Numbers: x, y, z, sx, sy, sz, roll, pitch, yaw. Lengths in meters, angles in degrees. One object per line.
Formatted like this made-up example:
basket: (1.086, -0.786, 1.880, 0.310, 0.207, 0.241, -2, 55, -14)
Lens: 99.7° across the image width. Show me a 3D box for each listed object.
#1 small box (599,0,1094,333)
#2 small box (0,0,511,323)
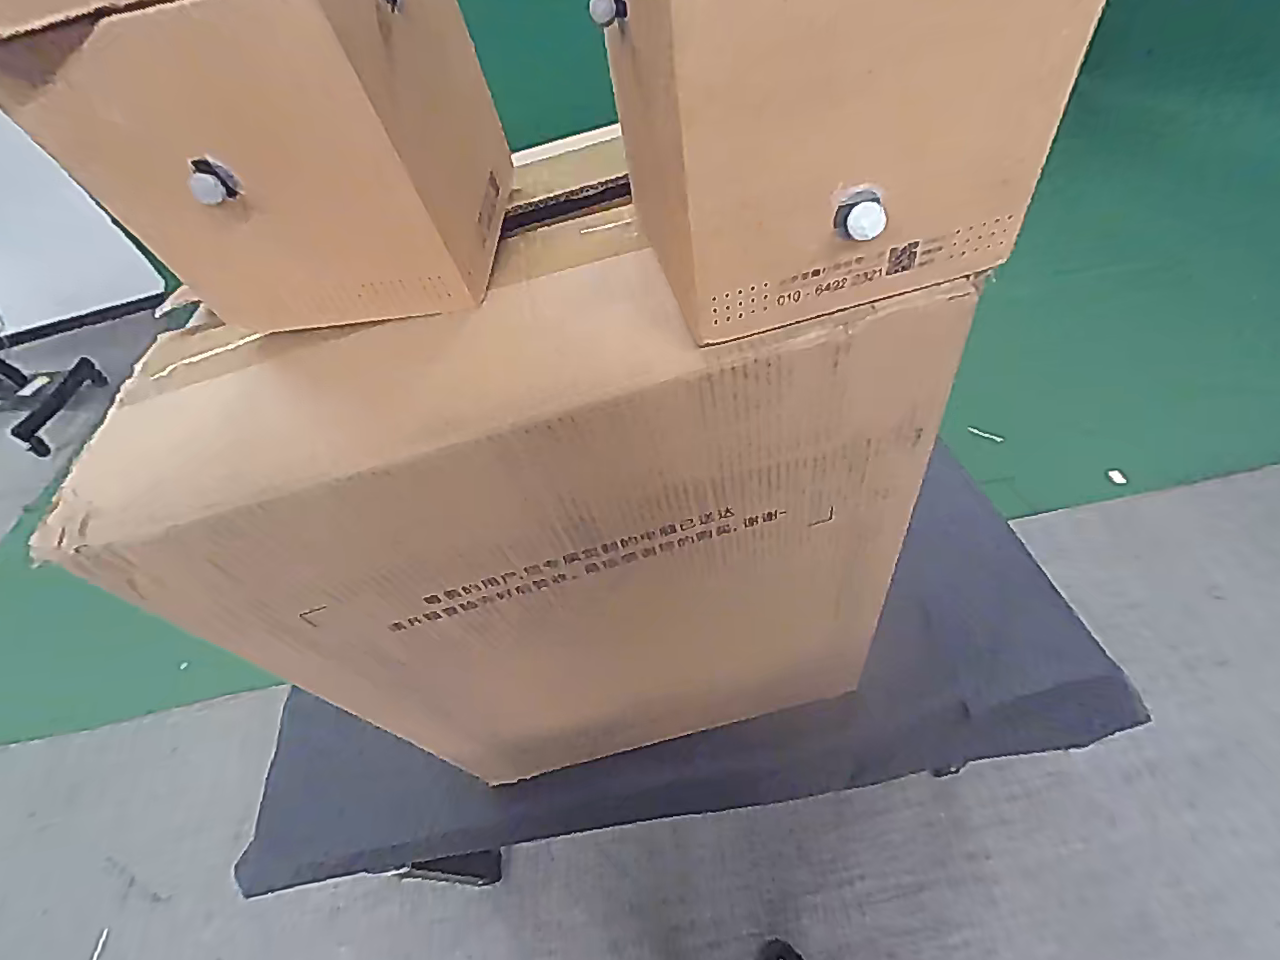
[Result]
small box: (0.074, -0.203, 0.267, 0.168, 0.176, 0.179, -15, 51, 0)
small box: (-0.200, -0.215, 0.325, 0.179, 0.176, 0.168, -4, 60, 9)
